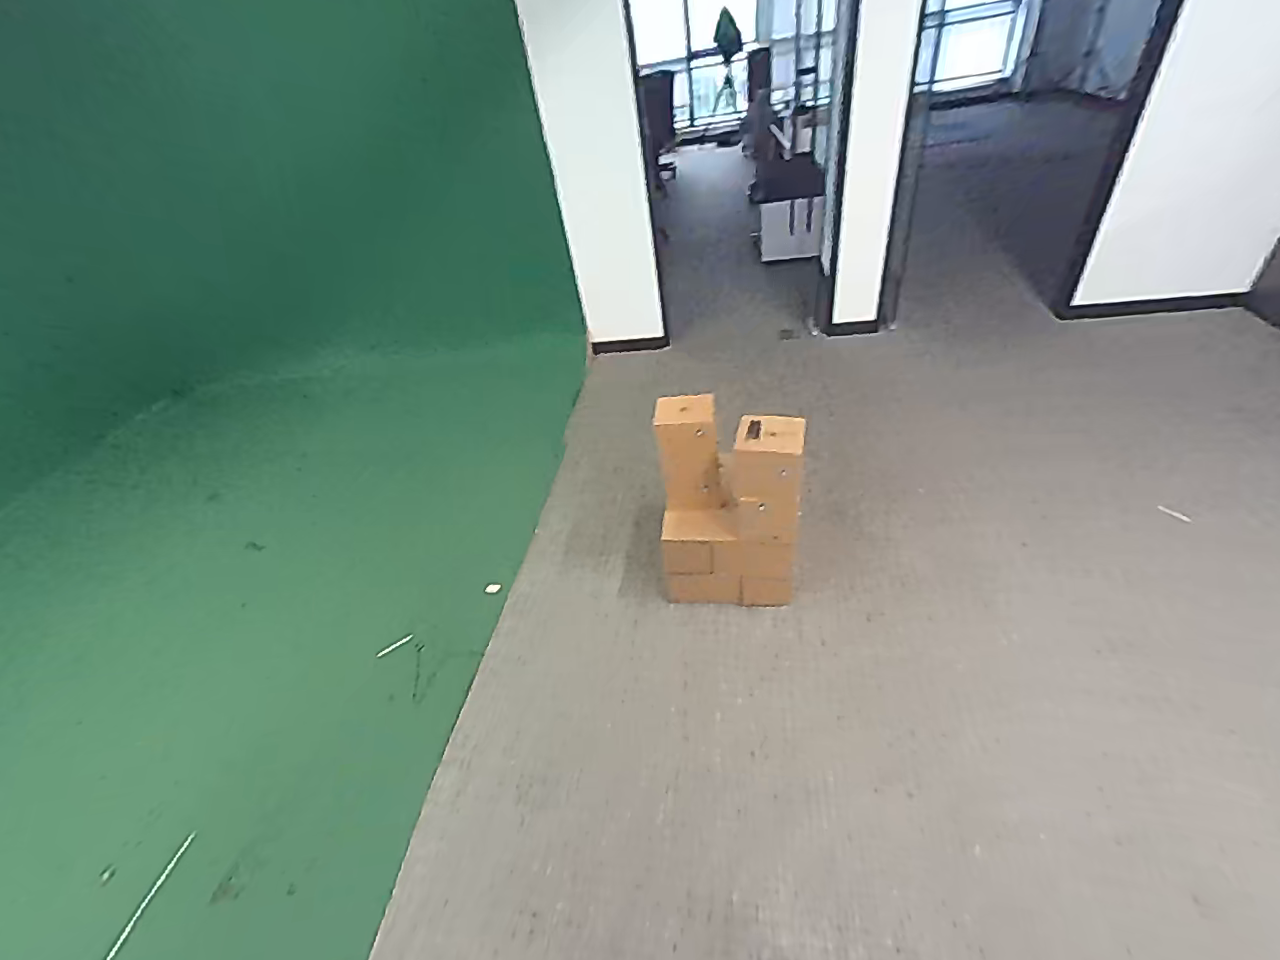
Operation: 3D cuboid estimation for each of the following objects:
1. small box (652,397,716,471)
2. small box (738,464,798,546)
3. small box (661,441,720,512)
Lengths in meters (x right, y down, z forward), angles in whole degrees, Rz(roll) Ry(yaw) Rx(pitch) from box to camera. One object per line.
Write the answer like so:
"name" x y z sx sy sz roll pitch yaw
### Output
"small box" 0.141 -0.140 1.669 0.179 0.176 0.168 -2 37 10
"small box" 0.380 0.072 1.608 0.168 0.176 0.179 1 39 14
"small box" 0.171 -0.010 1.764 0.179 0.176 0.168 -4 37 10
